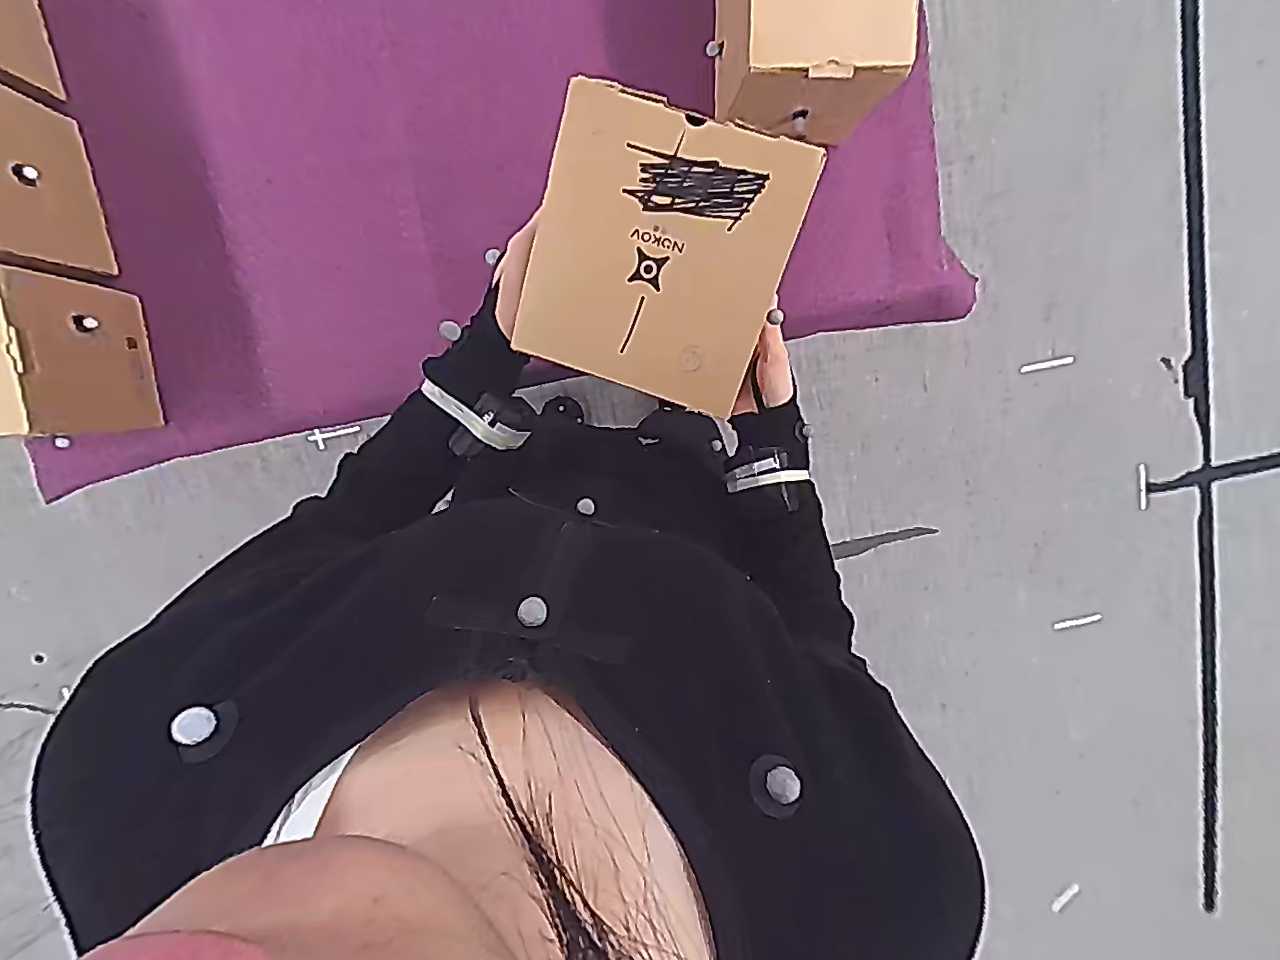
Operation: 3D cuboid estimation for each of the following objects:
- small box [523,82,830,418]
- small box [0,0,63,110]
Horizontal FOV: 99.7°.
[{"bbox_3d":[0.028,-0.167,0.437,0.168,0.176,0.179,19,107,4],"label":"small box"},{"bbox_3d":[-0.744,-0.494,0.526,0.168,0.176,0.179,-8,101,-3],"label":"small box"}]
